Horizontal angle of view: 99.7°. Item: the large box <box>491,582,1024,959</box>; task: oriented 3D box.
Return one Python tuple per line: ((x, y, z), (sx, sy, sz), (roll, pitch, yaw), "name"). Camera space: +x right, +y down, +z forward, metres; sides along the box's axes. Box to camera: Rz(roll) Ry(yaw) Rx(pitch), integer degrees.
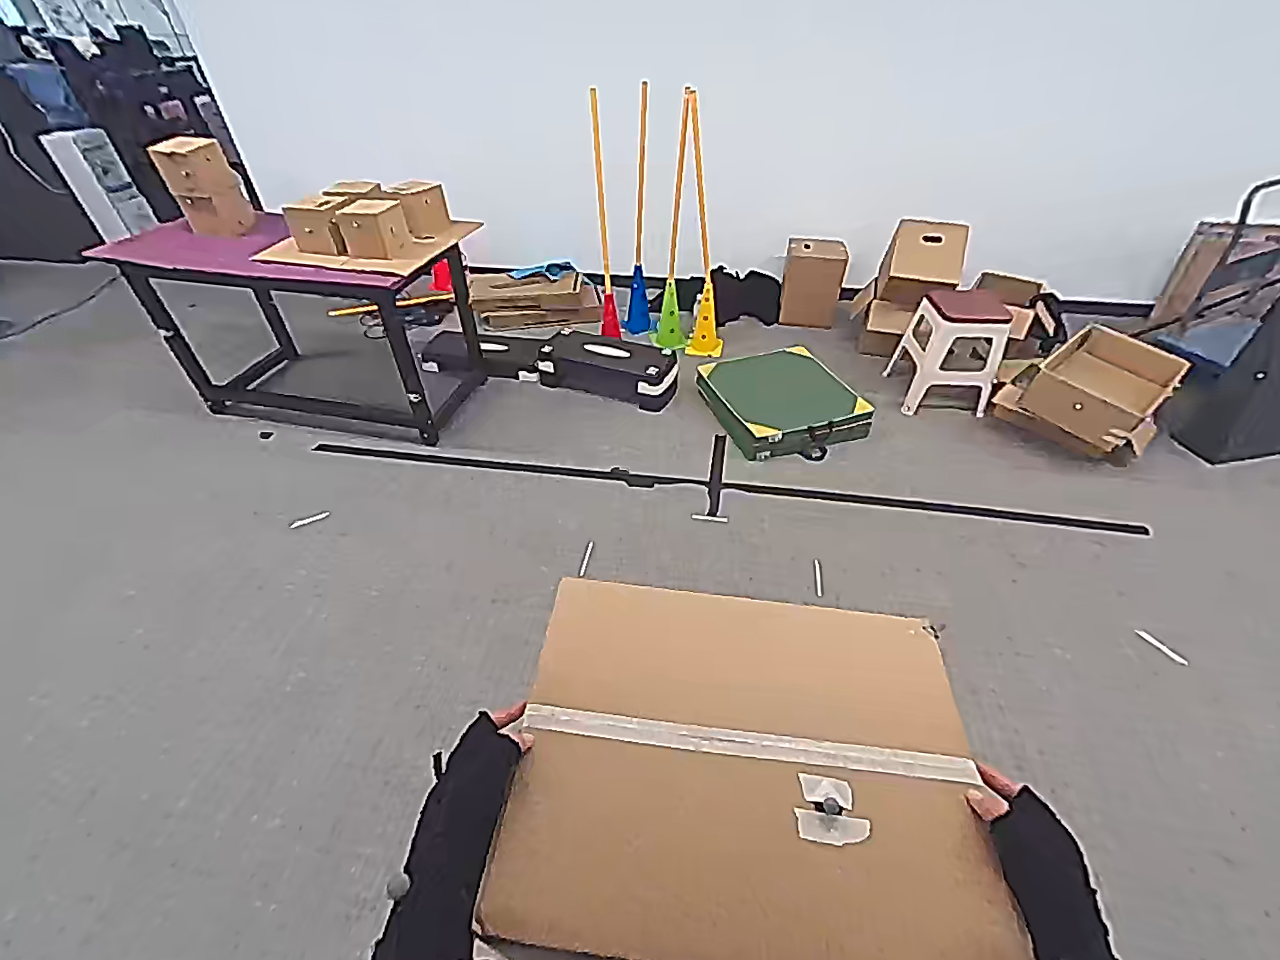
((0.090, 0.346, 0.603), (0.408, 0.320, 0.320), (6, 45, 3), "large box")
